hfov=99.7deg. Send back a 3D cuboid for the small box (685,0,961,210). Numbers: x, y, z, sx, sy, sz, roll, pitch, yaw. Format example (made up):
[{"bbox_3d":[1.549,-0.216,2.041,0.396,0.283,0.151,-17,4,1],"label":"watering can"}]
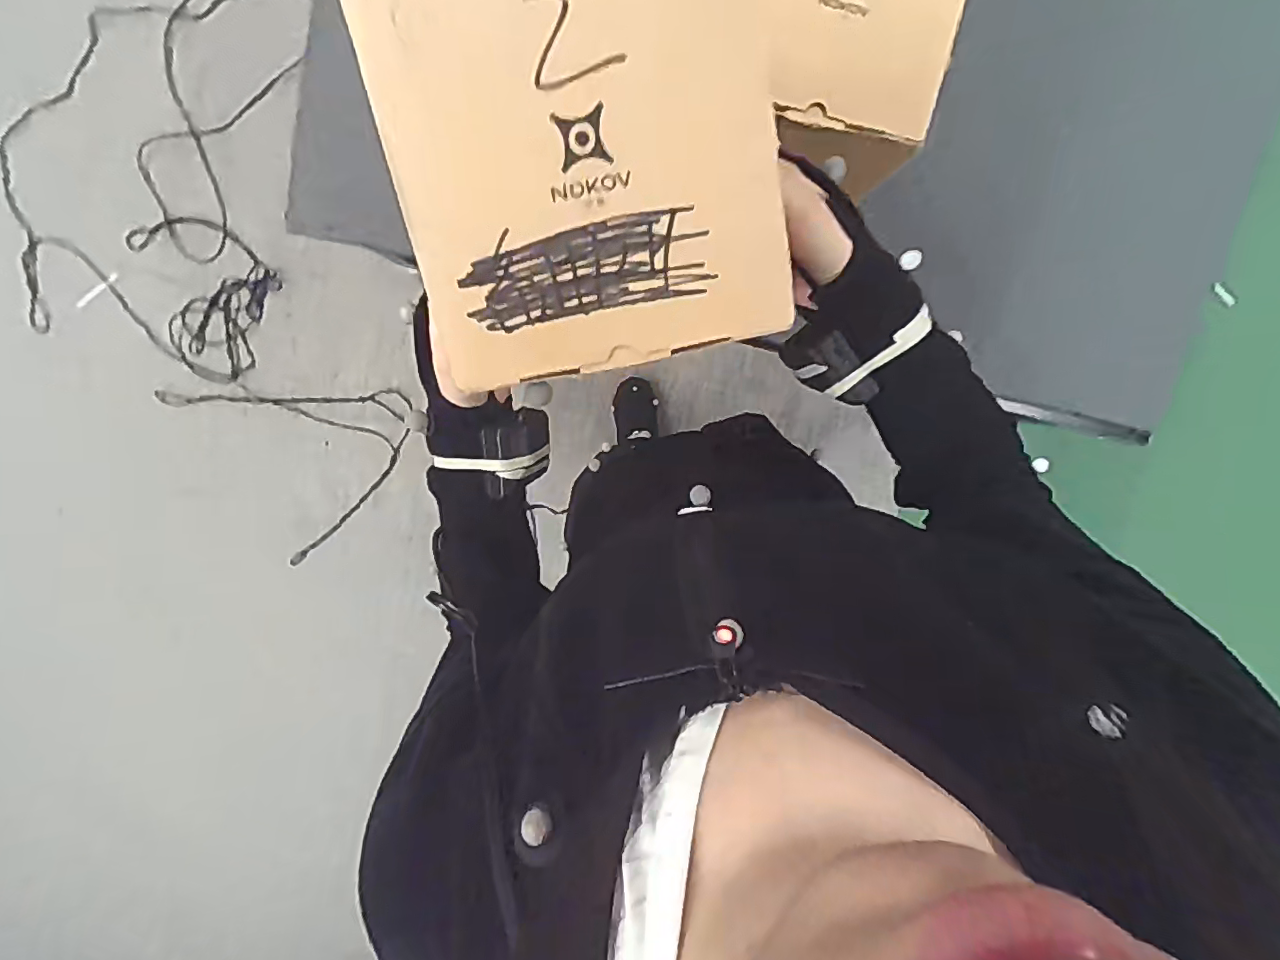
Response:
[{"bbox_3d":[0.138,-0.356,0.446,0.168,0.176,0.179,12,99,-3],"label":"small box"}]

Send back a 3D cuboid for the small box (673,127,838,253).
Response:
[{"bbox_3d":[0.135,-0.381,0.606,0.168,0.176,0.179,12,98,-2],"label":"small box"}]
